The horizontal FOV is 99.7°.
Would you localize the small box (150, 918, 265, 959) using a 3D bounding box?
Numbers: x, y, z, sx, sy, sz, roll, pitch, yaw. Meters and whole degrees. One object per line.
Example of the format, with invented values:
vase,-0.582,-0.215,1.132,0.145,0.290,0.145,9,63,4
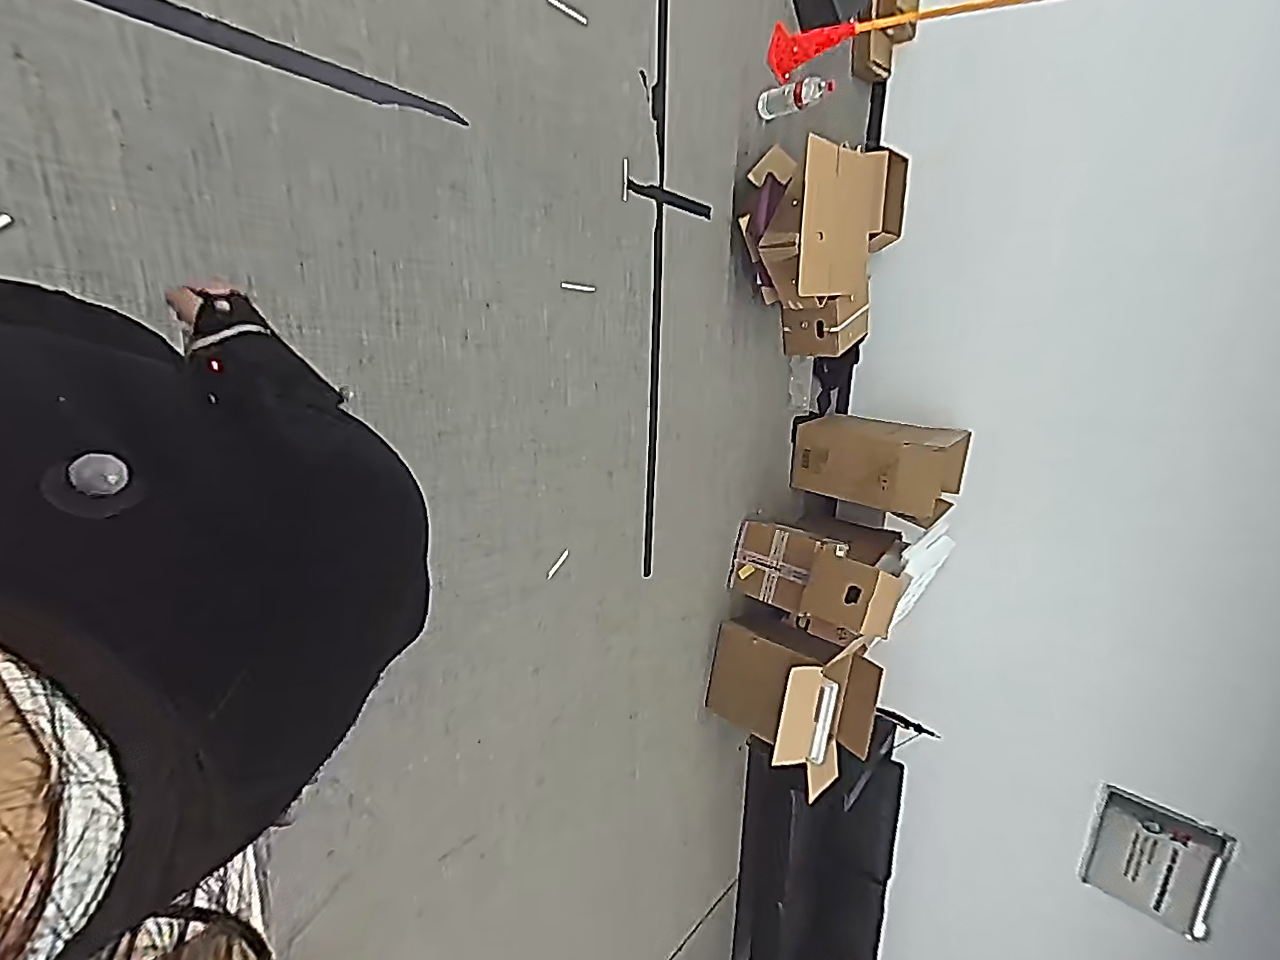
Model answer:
small box,-0.645,0.796,0.786,0.168,0.176,0.179,-10,107,-45
